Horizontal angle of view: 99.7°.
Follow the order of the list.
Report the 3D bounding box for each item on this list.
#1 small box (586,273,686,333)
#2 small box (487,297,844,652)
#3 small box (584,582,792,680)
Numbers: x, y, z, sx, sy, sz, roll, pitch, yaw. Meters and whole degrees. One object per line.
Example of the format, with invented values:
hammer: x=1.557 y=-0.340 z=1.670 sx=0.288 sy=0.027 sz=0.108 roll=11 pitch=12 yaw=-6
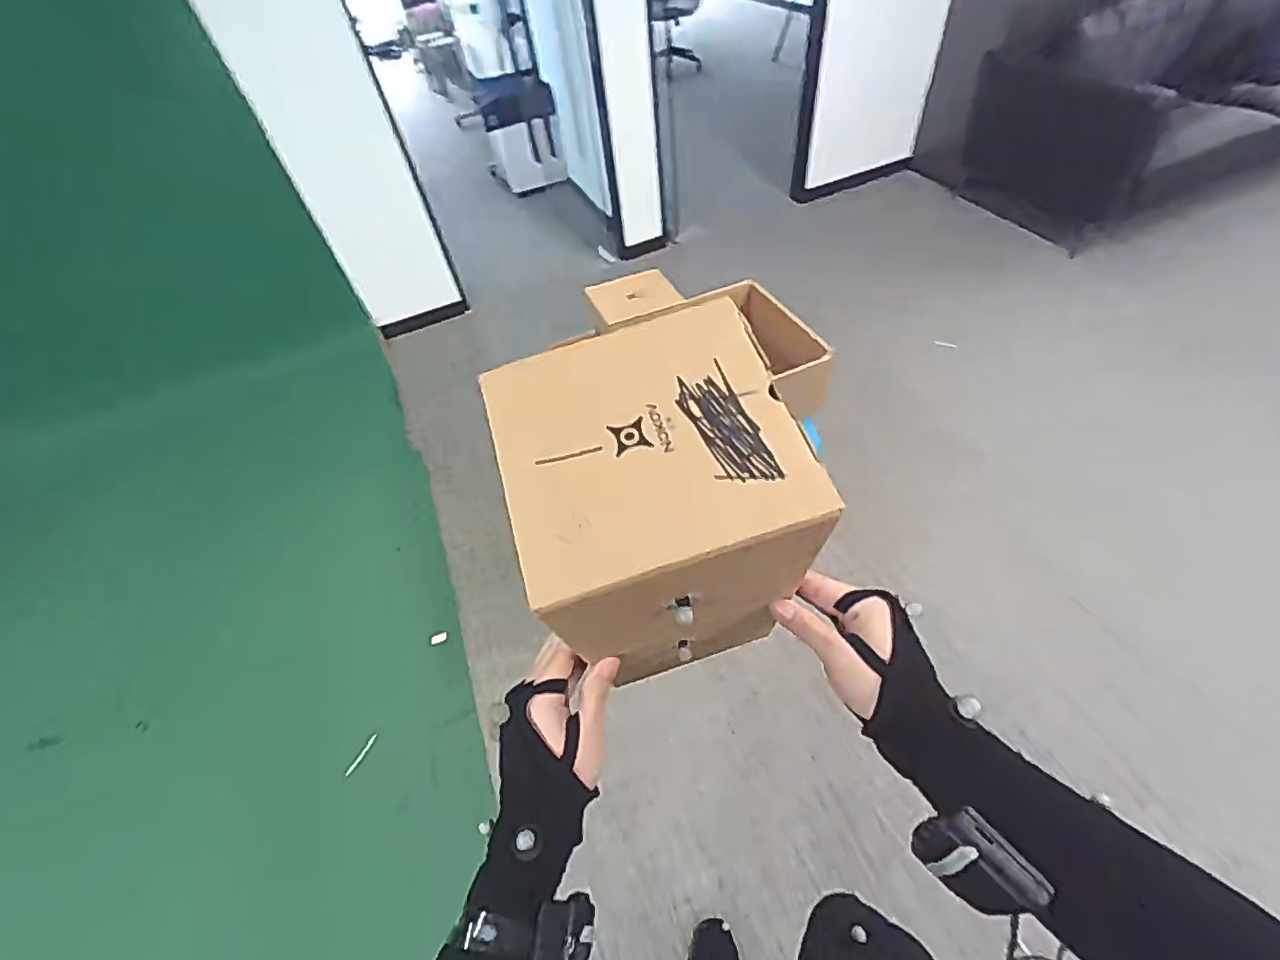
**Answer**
small box: x=-0.003 y=-0.332 z=1.212 sx=0.179 sy=0.176 sz=0.168 roll=-20 pitch=49 yaw=-11
small box: x=0.012 y=0.008 z=0.386 sx=0.179 sy=0.176 sz=0.168 roll=-17 pitch=62 yaw=-2
small box: x=0.027 y=0.084 z=0.532 sx=0.179 sy=0.176 sz=0.168 roll=-17 pitch=62 yaw=-3
